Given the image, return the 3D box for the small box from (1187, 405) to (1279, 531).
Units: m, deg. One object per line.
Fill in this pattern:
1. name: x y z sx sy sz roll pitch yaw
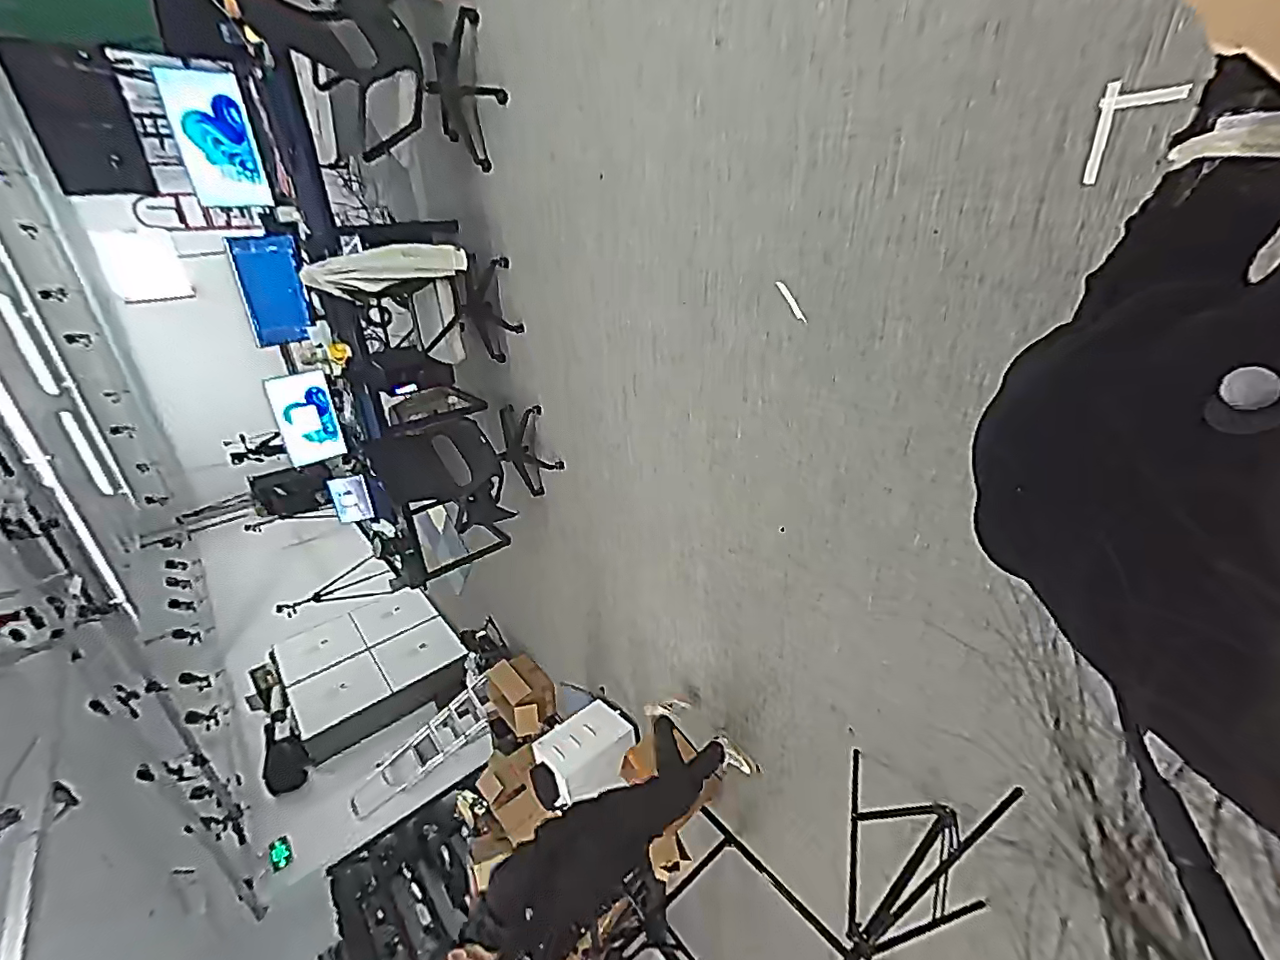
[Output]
1. small box: 0.937 0.010 0.753 0.179 0.176 0.168 36 134 39
